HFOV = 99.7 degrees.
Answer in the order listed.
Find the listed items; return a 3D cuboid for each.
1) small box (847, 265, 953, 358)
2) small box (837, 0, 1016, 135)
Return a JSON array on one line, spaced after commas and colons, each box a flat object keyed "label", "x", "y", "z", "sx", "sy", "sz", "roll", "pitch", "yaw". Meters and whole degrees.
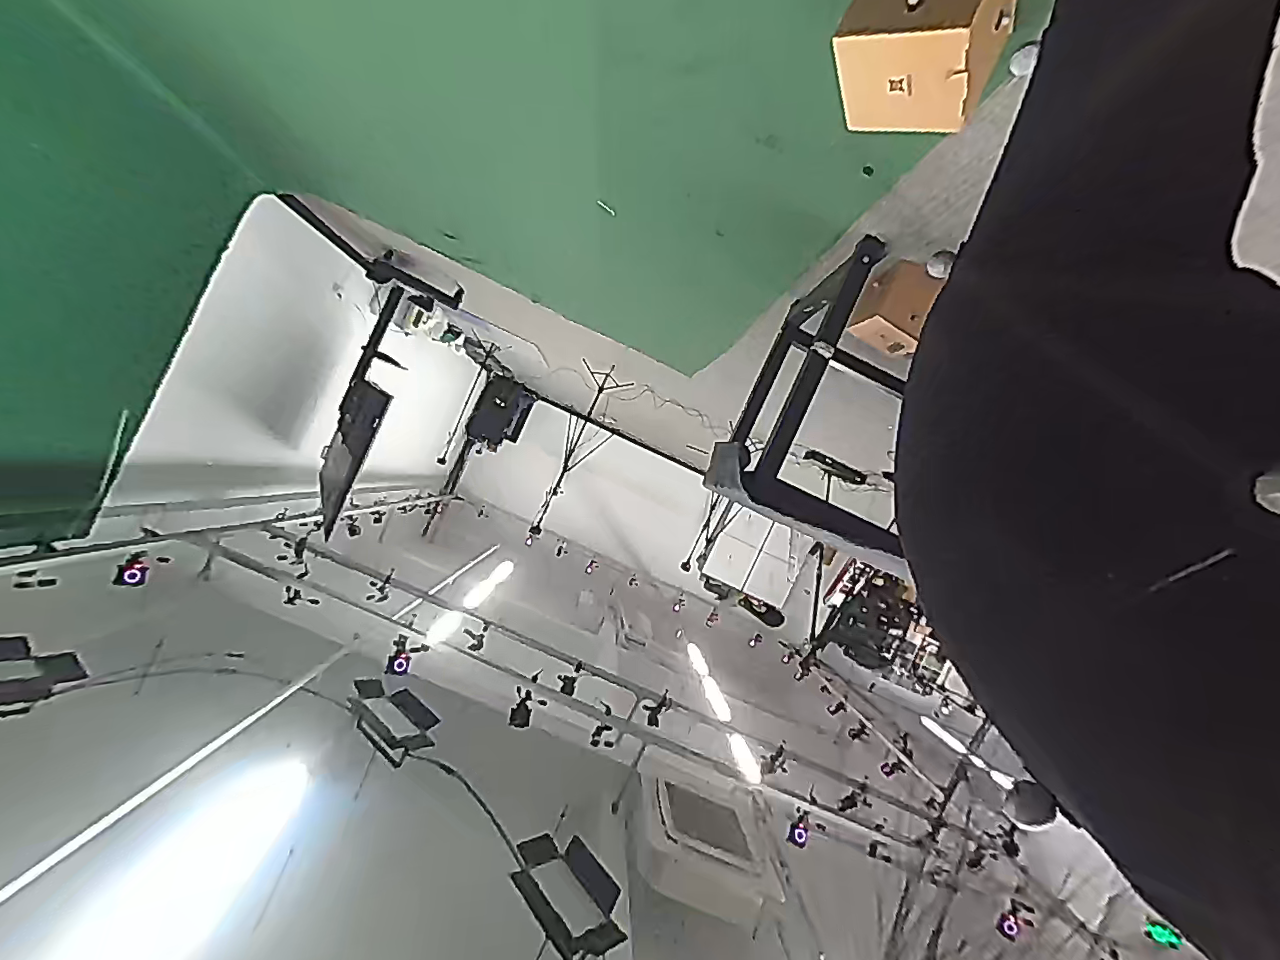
[{"label": "small box", "x": 0.724, "y": -0.466, "z": 1.508, "sx": 0.179, "sy": 0.176, "sz": 0.168, "roll": 26, "pitch": 178, "yaw": -9}, {"label": "small box", "x": 0.407, "y": -0.629, "z": 0.767, "sx": 0.179, "sy": 0.176, "sz": 0.168, "roll": 23, "pitch": 178, "yaw": 31}]
